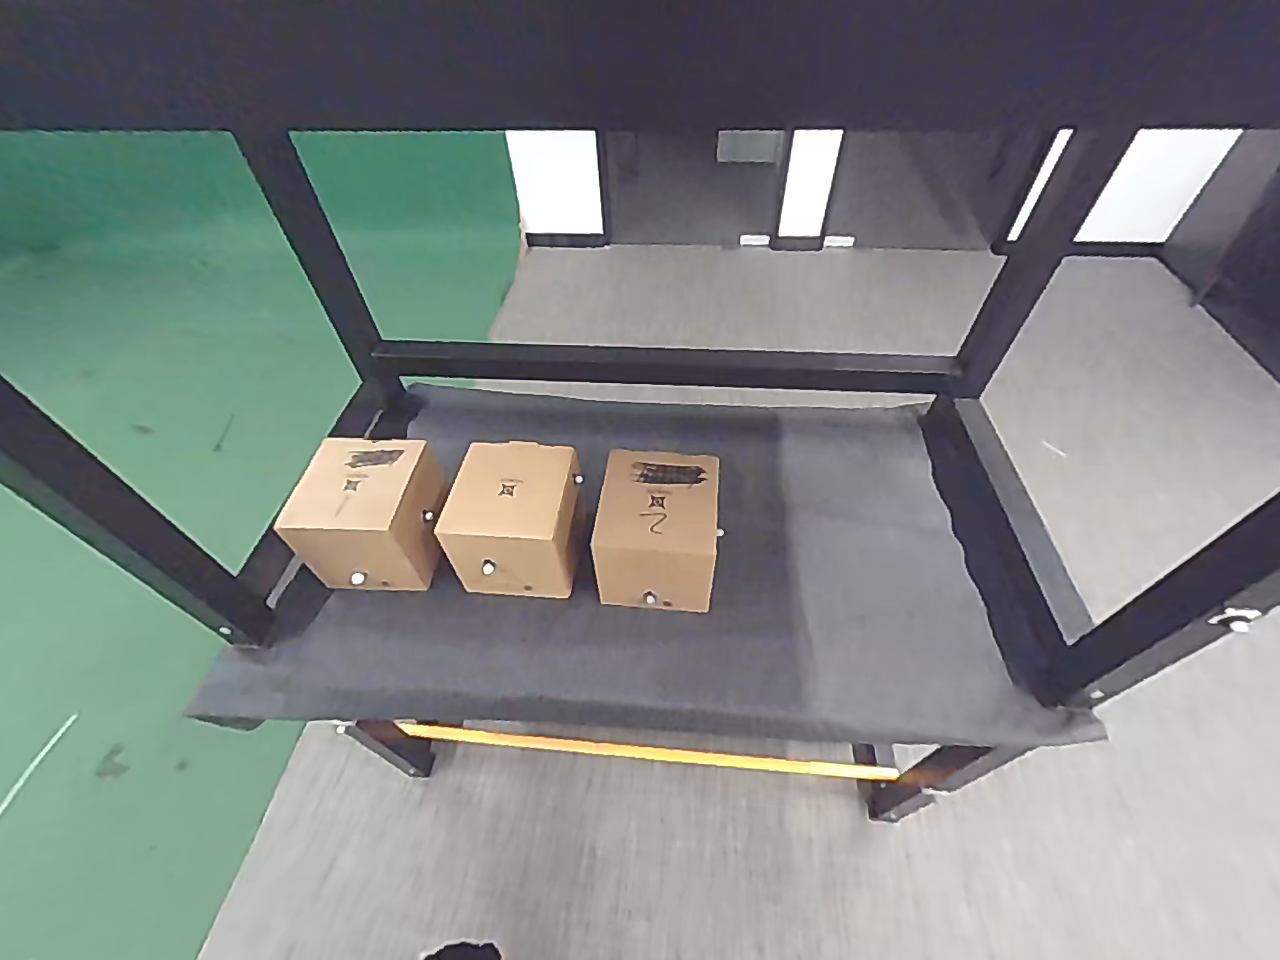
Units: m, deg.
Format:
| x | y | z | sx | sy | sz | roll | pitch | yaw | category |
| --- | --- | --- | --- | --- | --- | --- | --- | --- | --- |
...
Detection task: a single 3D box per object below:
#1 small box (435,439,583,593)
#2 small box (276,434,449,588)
| x | y | z | sx | sy | sz | roll | pitch | yaw | category |
| --- | --- | --- | --- | --- | --- | --- | --- | --- | --- |
| -0.187 | 0.058 | 0.838 | 0.168 | 0.176 | 0.179 | 4 | 49 | 4 | small box |
| -0.413 | 0.049 | 0.850 | 0.168 | 0.176 | 0.179 | 1 | 49 | 3 | small box |
